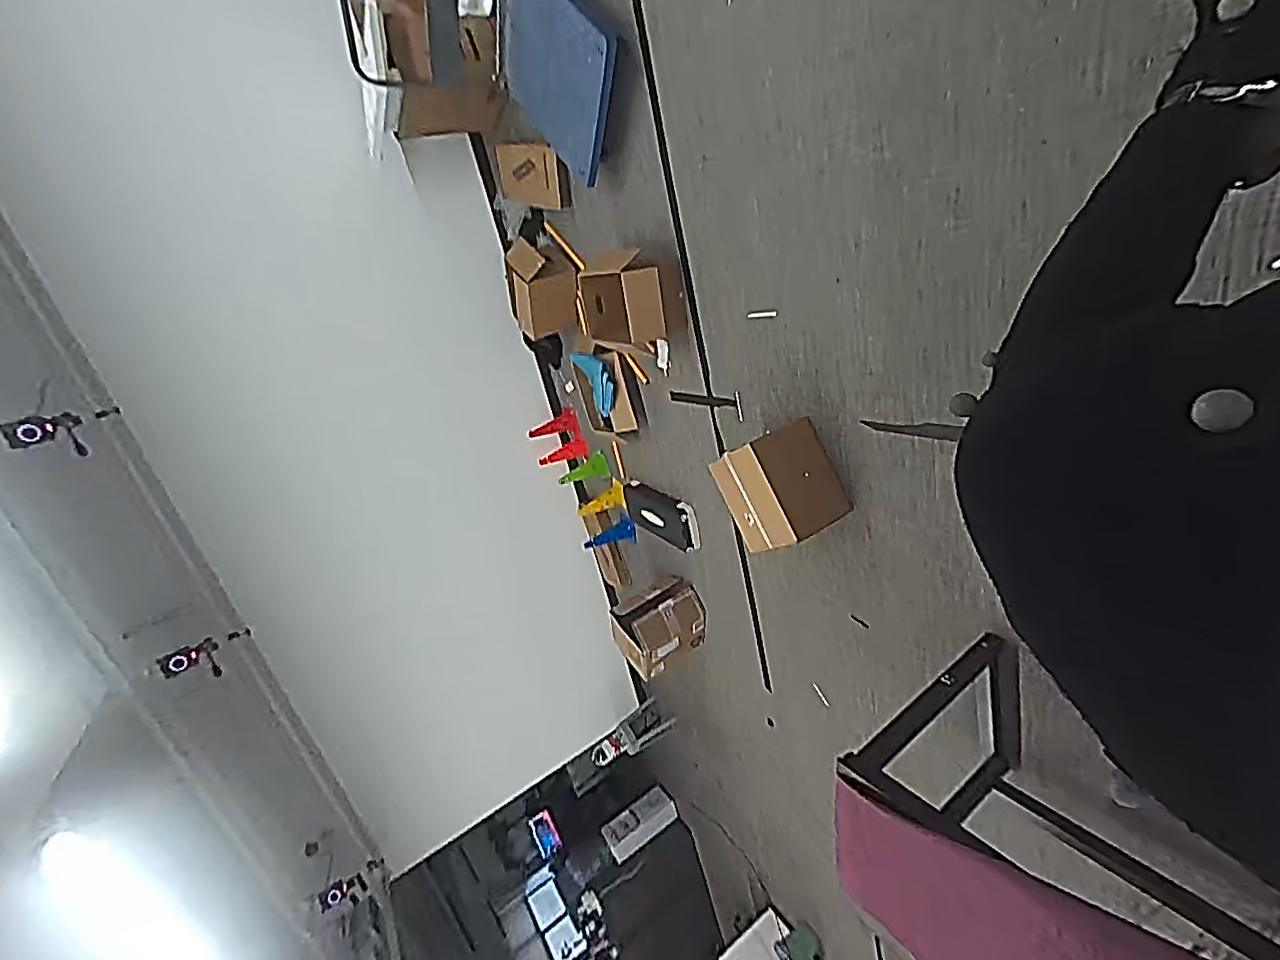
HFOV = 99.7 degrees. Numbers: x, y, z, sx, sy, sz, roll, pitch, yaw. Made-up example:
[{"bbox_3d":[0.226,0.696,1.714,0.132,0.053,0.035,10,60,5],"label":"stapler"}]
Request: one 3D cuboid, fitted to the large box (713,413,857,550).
[{"bbox_3d":[0.561,0.010,2.117,0.408,0.320,0.320,63,156,3],"label":"large box"}]
